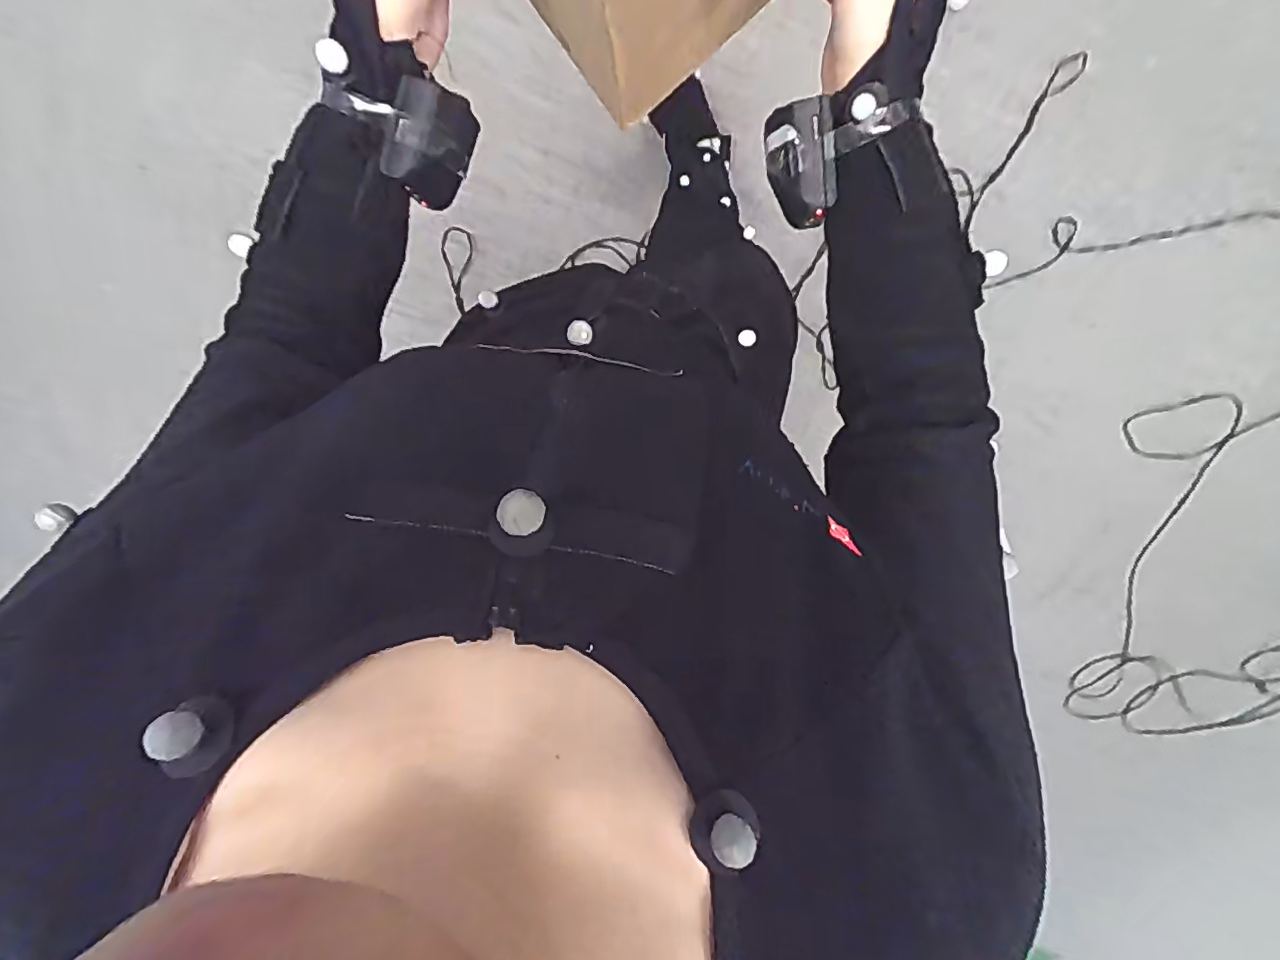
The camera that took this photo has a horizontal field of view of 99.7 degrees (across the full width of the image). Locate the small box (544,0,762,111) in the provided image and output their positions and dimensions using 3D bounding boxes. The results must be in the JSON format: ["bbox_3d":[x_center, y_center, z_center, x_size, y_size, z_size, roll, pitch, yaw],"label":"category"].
[{"bbox_3d":[0.003,-0.341,0.275,0.179,0.176,0.168,-38,100,12],"label":"small box"}]
